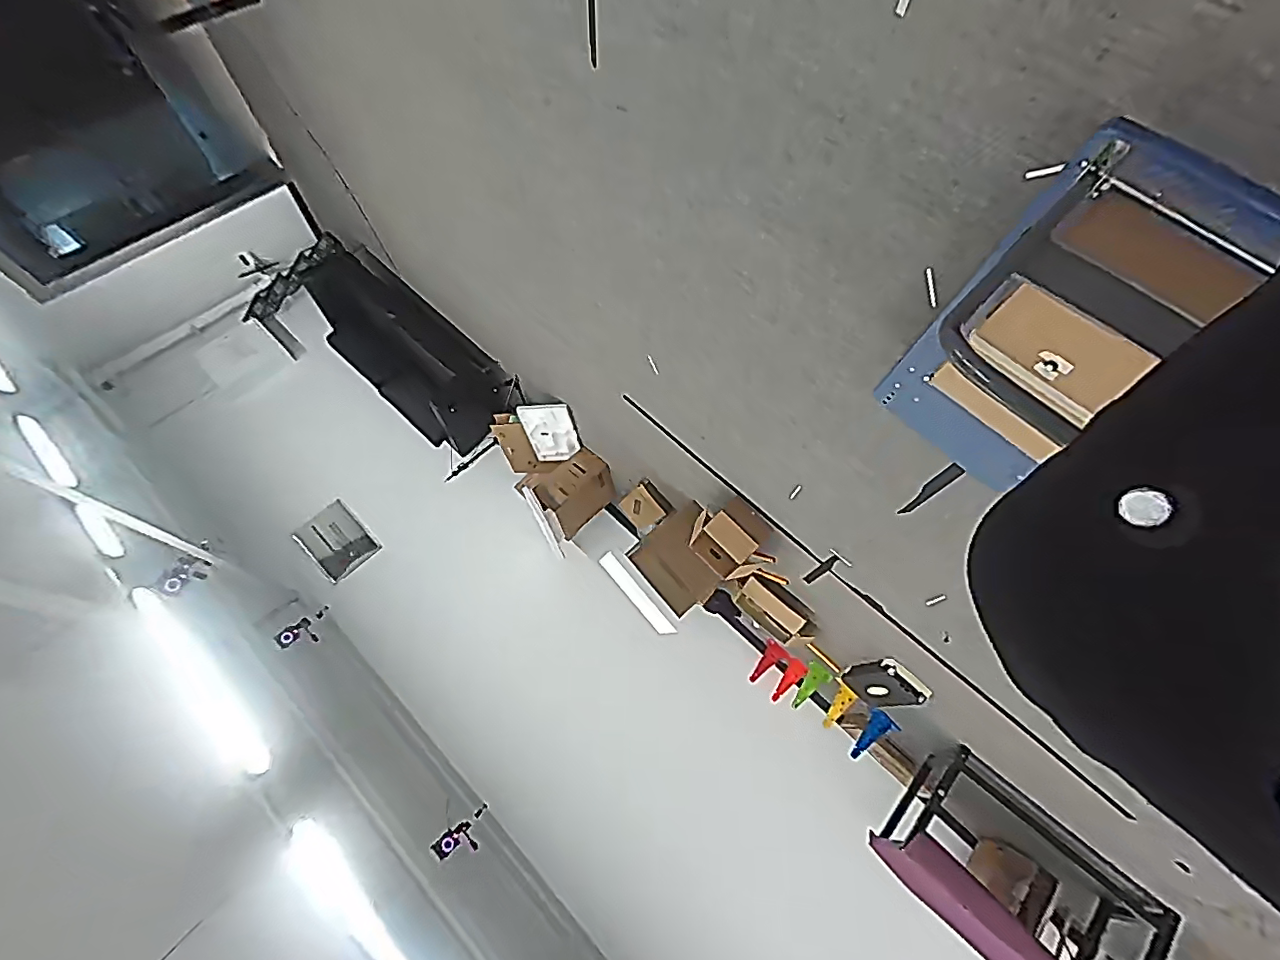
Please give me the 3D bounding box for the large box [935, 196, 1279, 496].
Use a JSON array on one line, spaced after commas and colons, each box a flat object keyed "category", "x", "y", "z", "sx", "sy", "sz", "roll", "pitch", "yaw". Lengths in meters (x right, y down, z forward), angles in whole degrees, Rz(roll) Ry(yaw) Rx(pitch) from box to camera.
[{"category": "large box", "x": 0.895, "y": -0.248, "z": 1.039, "sx": 0.408, "sy": 0.320, "sz": 0.320, "roll": 44, "pitch": 159, "yaw": 14}]
